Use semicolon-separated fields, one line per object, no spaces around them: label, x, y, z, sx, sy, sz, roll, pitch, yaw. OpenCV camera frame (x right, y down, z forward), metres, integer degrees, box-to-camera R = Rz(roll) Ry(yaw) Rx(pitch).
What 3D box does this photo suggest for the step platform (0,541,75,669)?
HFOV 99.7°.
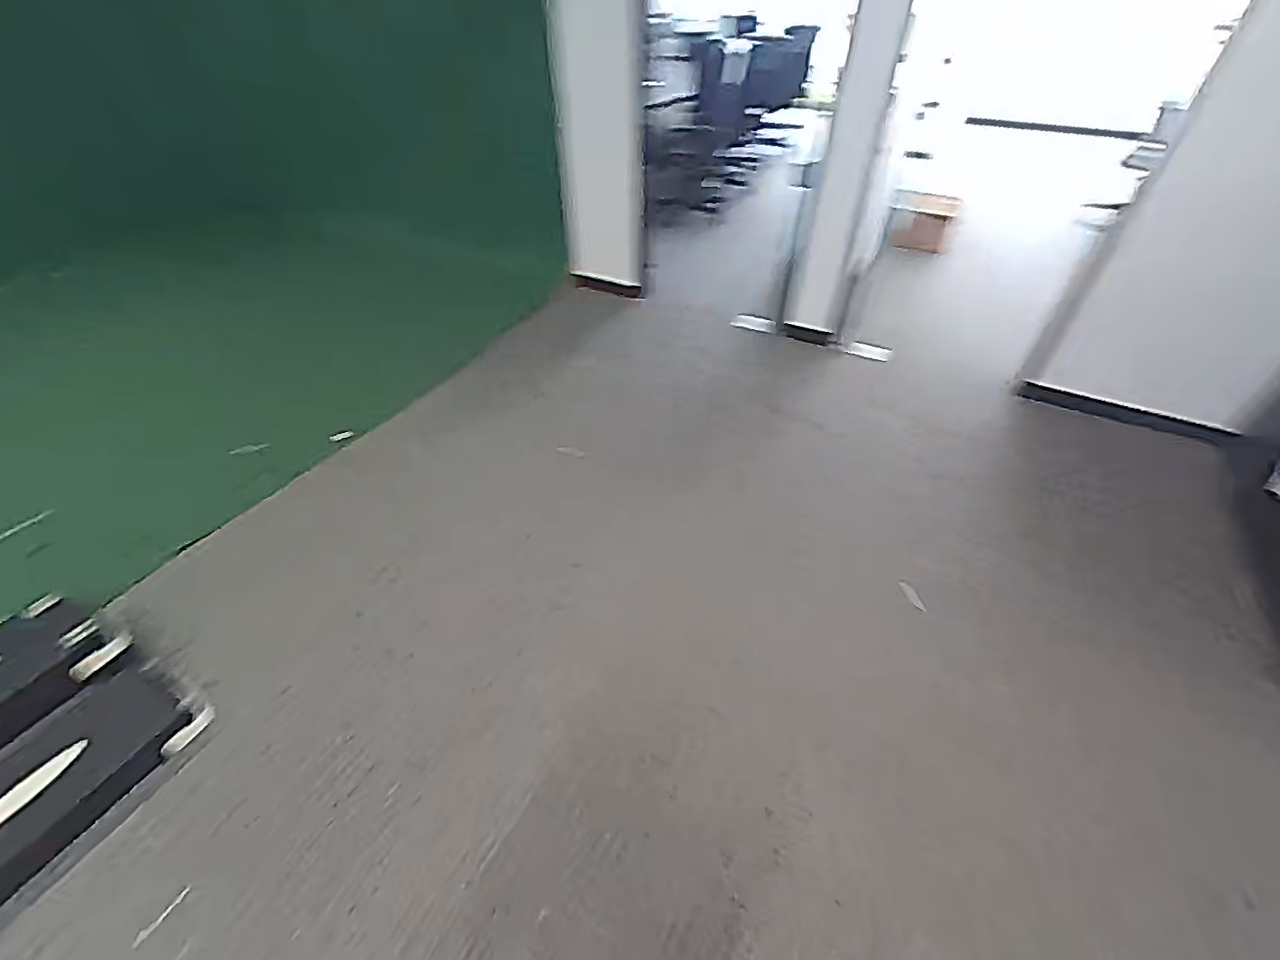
step platform;-1.787;0.450;1.247;0.286;0.204;0.684;22;49;20
